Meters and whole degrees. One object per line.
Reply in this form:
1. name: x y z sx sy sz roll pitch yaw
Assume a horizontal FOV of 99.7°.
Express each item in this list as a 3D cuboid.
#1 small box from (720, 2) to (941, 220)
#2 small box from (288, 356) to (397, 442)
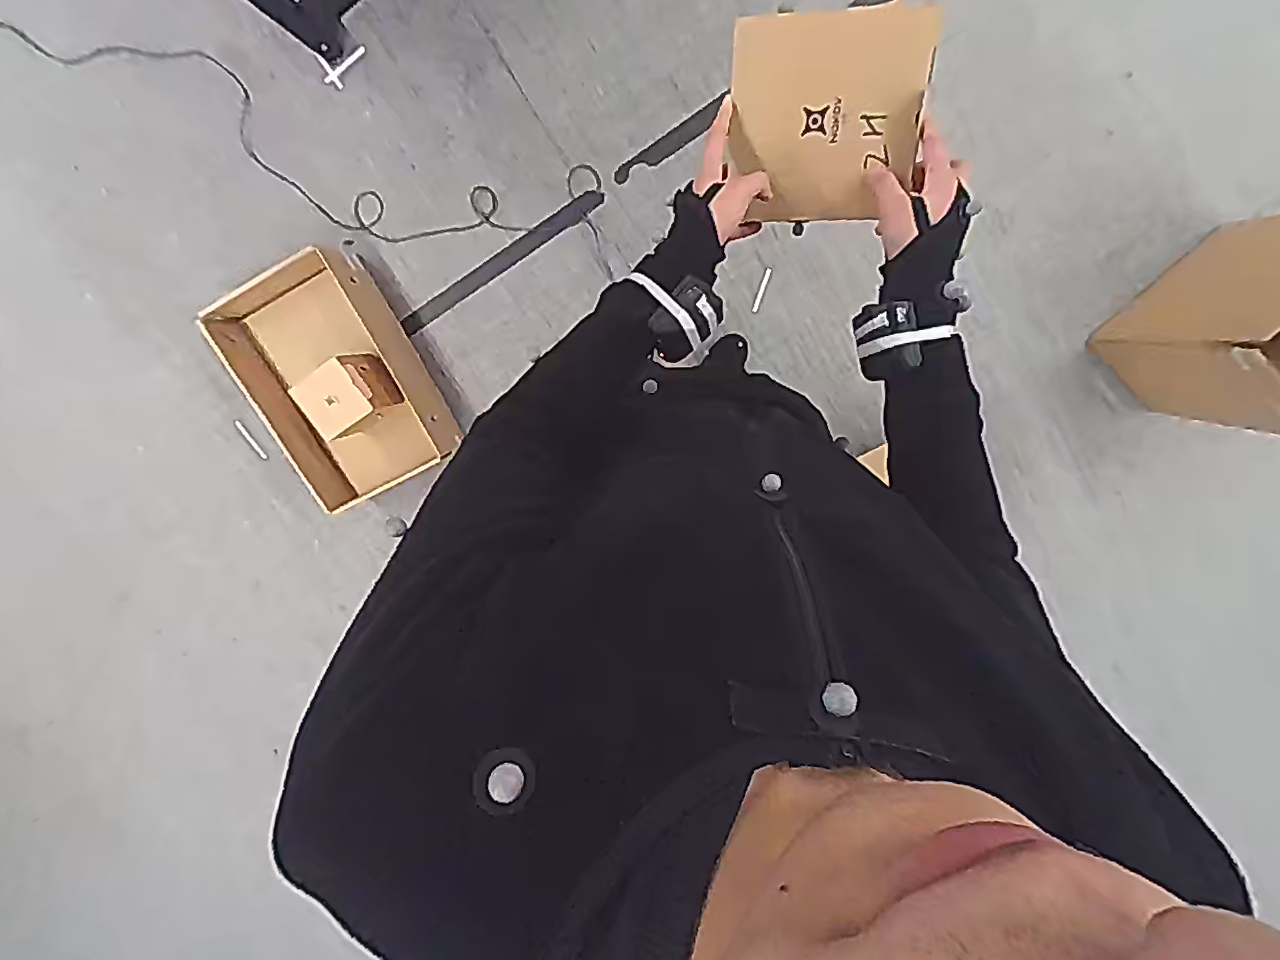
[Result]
1. small box: 0.181 -0.366 0.568 0.179 0.176 0.168 4 118 9
2. small box: -0.806 -0.230 1.493 0.179 0.176 0.168 -30 101 10
